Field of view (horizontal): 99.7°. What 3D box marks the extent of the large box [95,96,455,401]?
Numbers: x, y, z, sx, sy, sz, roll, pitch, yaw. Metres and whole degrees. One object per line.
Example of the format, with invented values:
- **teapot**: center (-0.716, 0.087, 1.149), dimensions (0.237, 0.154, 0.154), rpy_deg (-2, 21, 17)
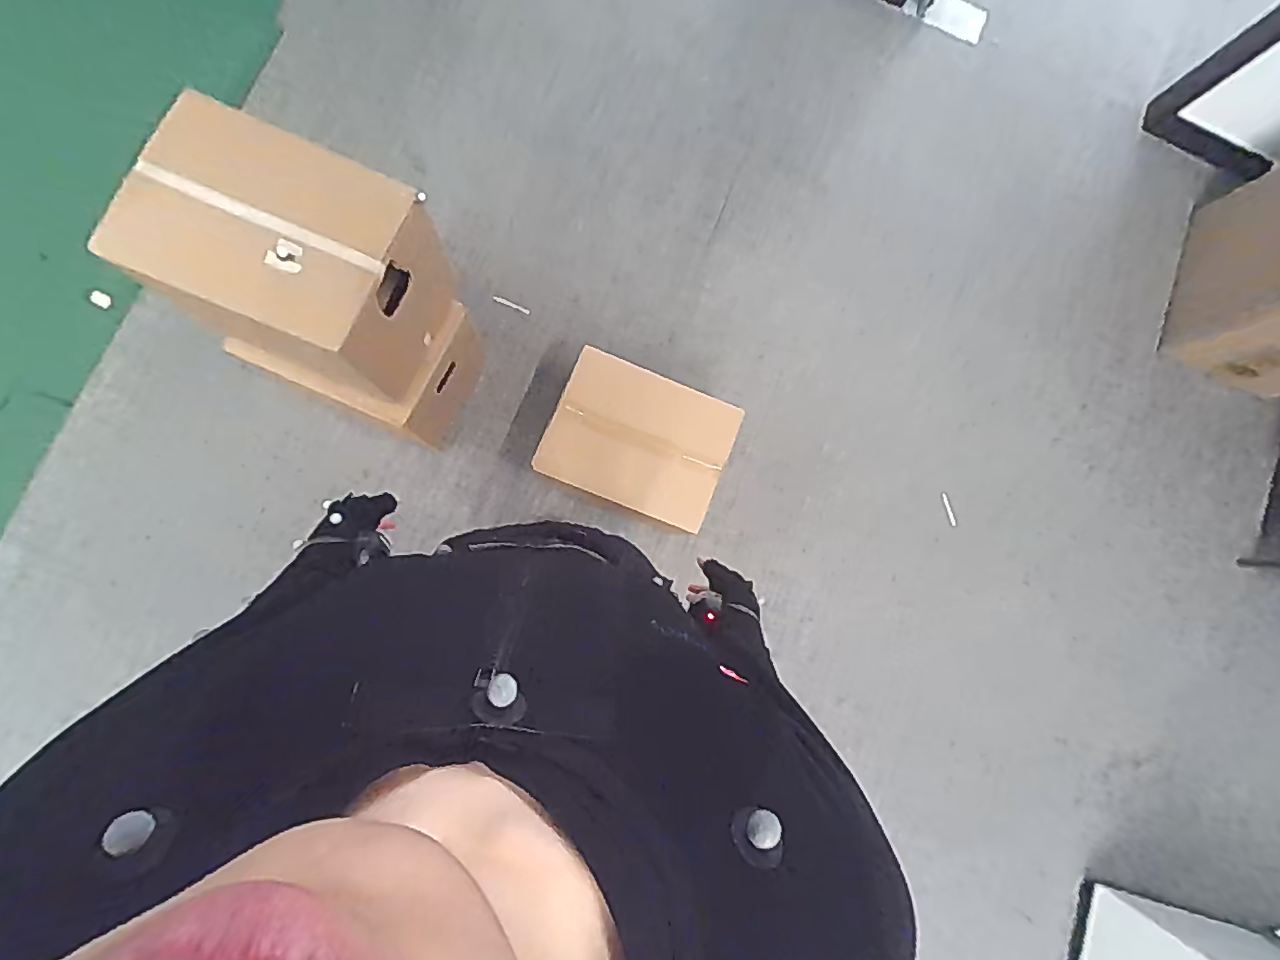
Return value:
- **large box**: center (-0.622, -0.397, 1.015), dimensions (0.408, 0.320, 0.320), rpy_deg (23, 79, -5)
